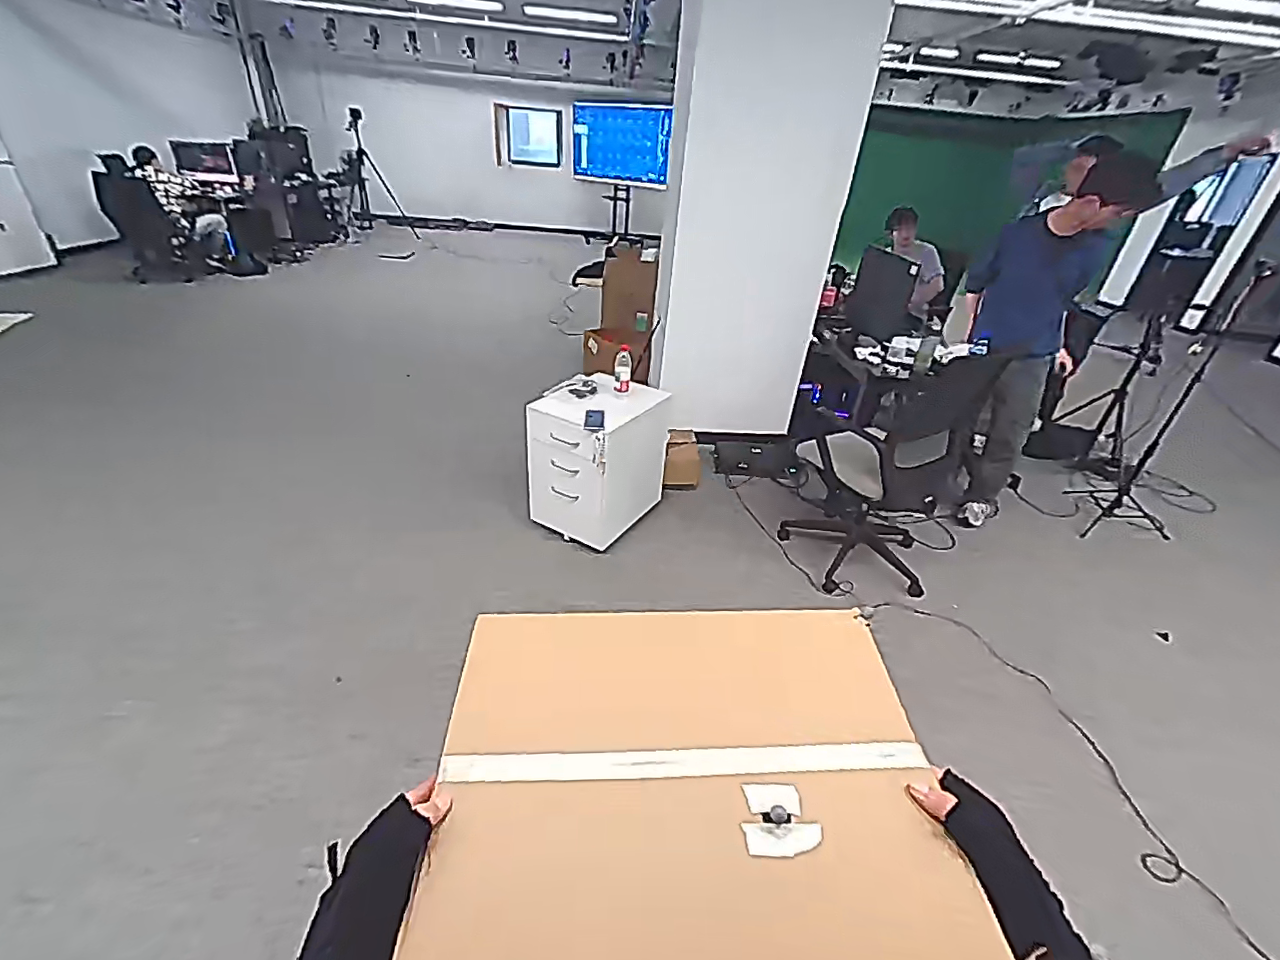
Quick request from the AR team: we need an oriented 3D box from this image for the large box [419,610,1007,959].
[{"bbox_3d":[0.040,0.356,0.554,0.408,0.320,0.320,0,40,-2],"label":"large box"}]
